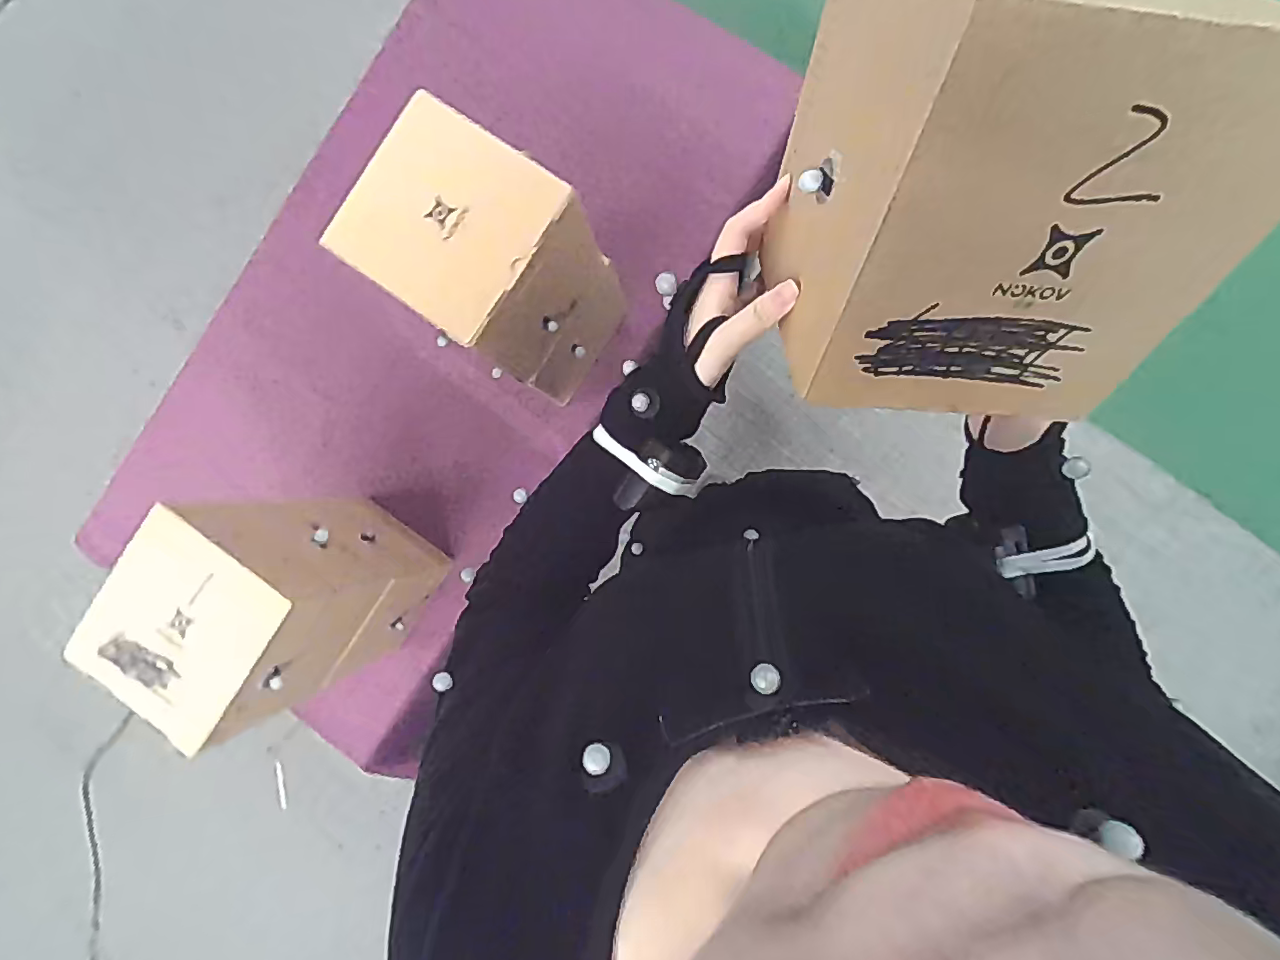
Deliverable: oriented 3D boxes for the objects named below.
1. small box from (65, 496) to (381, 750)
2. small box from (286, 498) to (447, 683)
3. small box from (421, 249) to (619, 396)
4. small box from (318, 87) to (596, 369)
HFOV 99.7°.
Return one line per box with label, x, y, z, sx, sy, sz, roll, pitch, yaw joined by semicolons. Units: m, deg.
small box;-0.418;0.133;0.574;0.168;0.176;0.179;34;92;5
small box;-0.401;0.134;0.737;0.179;0.176;0.168;34;92;6
small box;-0.143;-0.231;0.716;0.168;0.176;0.179;33;94;5
small box;-0.168;-0.235;0.555;0.179;0.176;0.168;35;92;5
